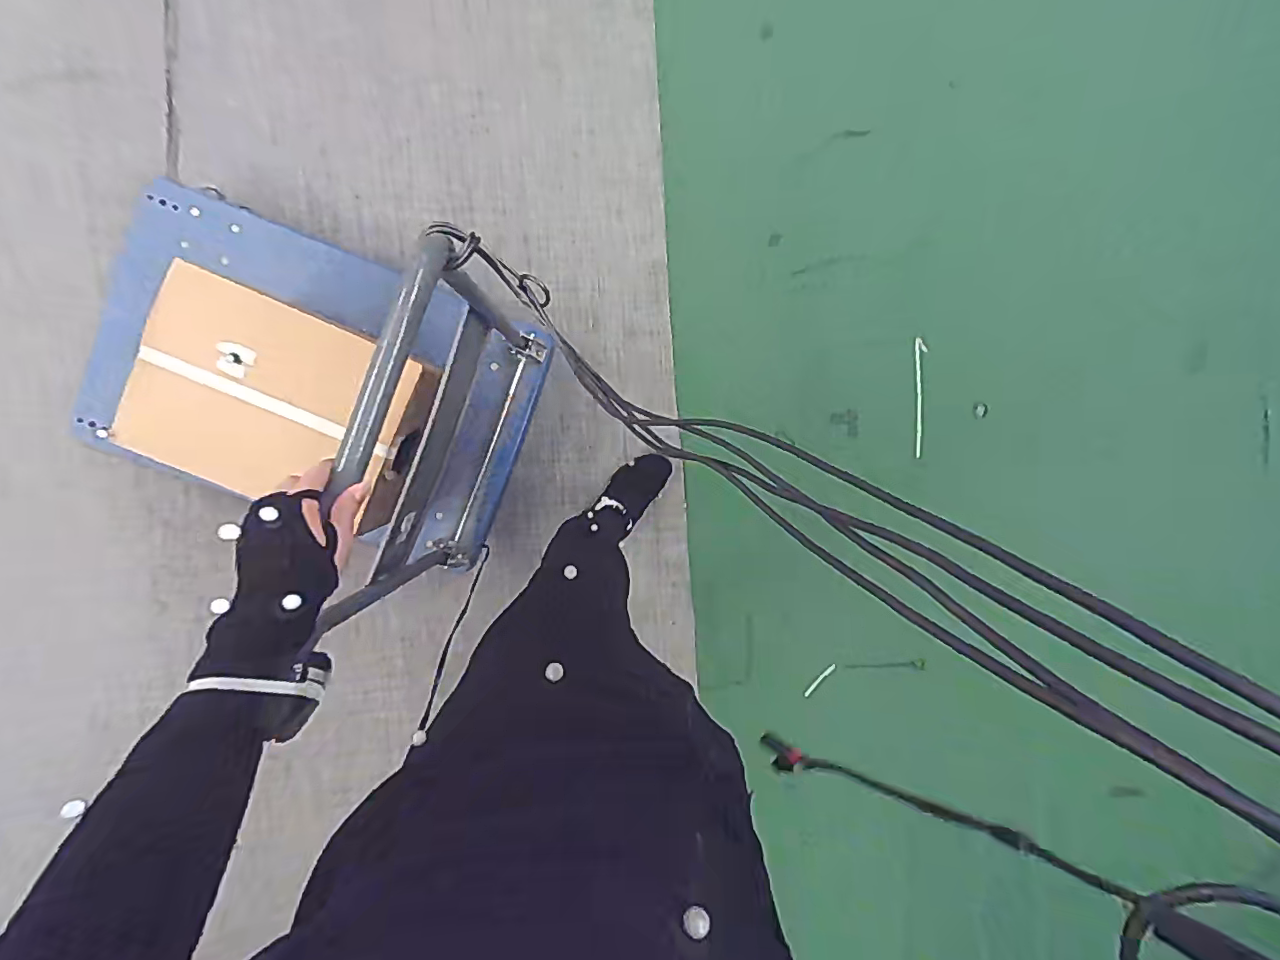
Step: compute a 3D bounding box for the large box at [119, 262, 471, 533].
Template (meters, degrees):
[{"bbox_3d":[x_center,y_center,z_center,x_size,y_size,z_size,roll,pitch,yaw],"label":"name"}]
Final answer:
[{"bbox_3d":[-0.585,-0.138,1.002,0.408,0.320,0.320,23,93,-5],"label":"large box"}]
